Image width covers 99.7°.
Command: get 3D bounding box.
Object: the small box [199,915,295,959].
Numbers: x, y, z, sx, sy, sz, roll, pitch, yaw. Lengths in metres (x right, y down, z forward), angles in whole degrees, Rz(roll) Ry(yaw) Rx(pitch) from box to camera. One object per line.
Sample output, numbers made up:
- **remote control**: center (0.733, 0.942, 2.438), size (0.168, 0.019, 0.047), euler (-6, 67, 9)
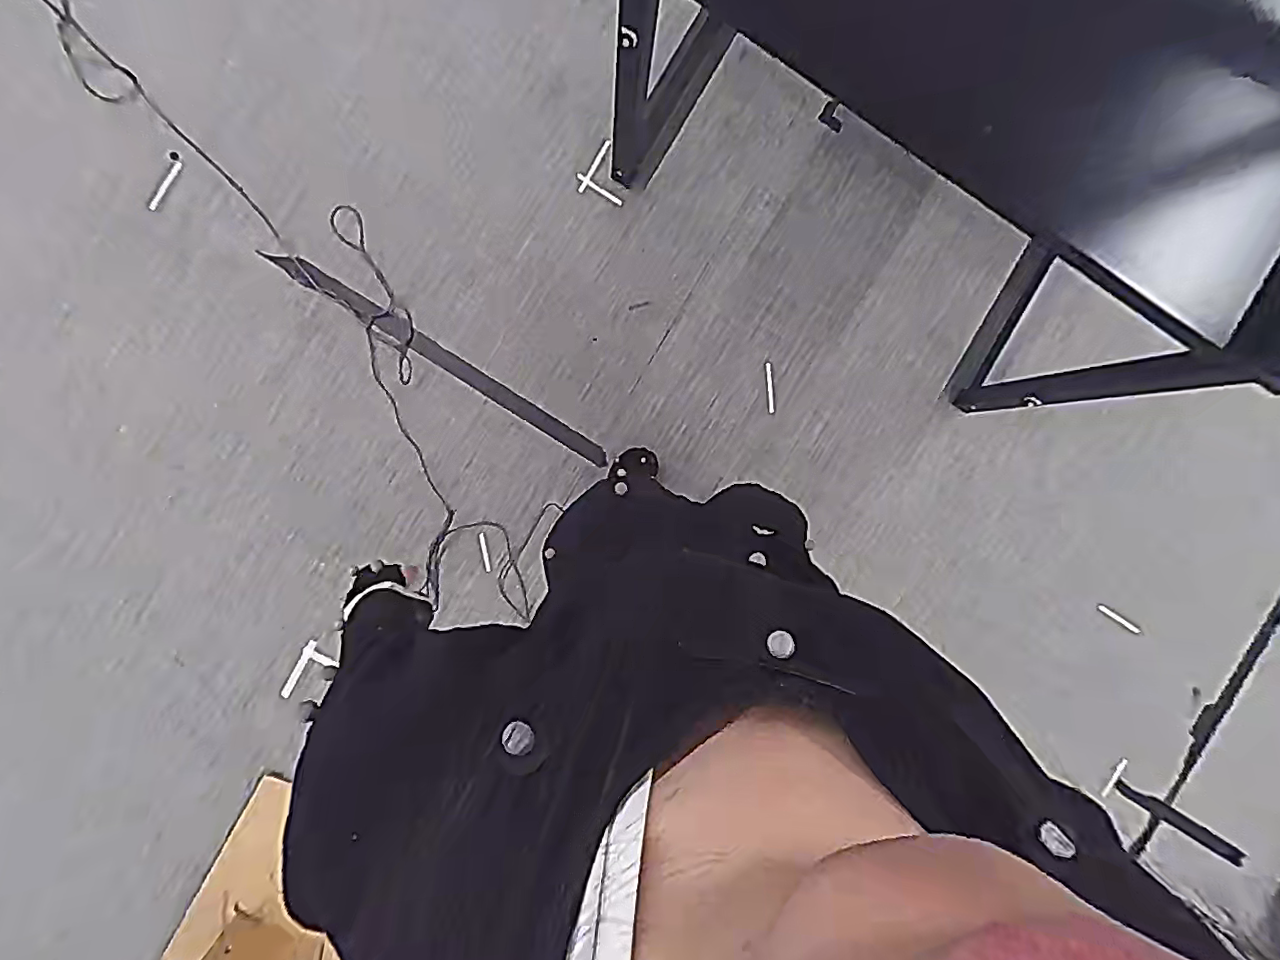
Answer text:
- **small box**: center (-1.046, 1.284, 1.397), size (0.179, 0.176, 0.168), euler (25, 92, -6)
